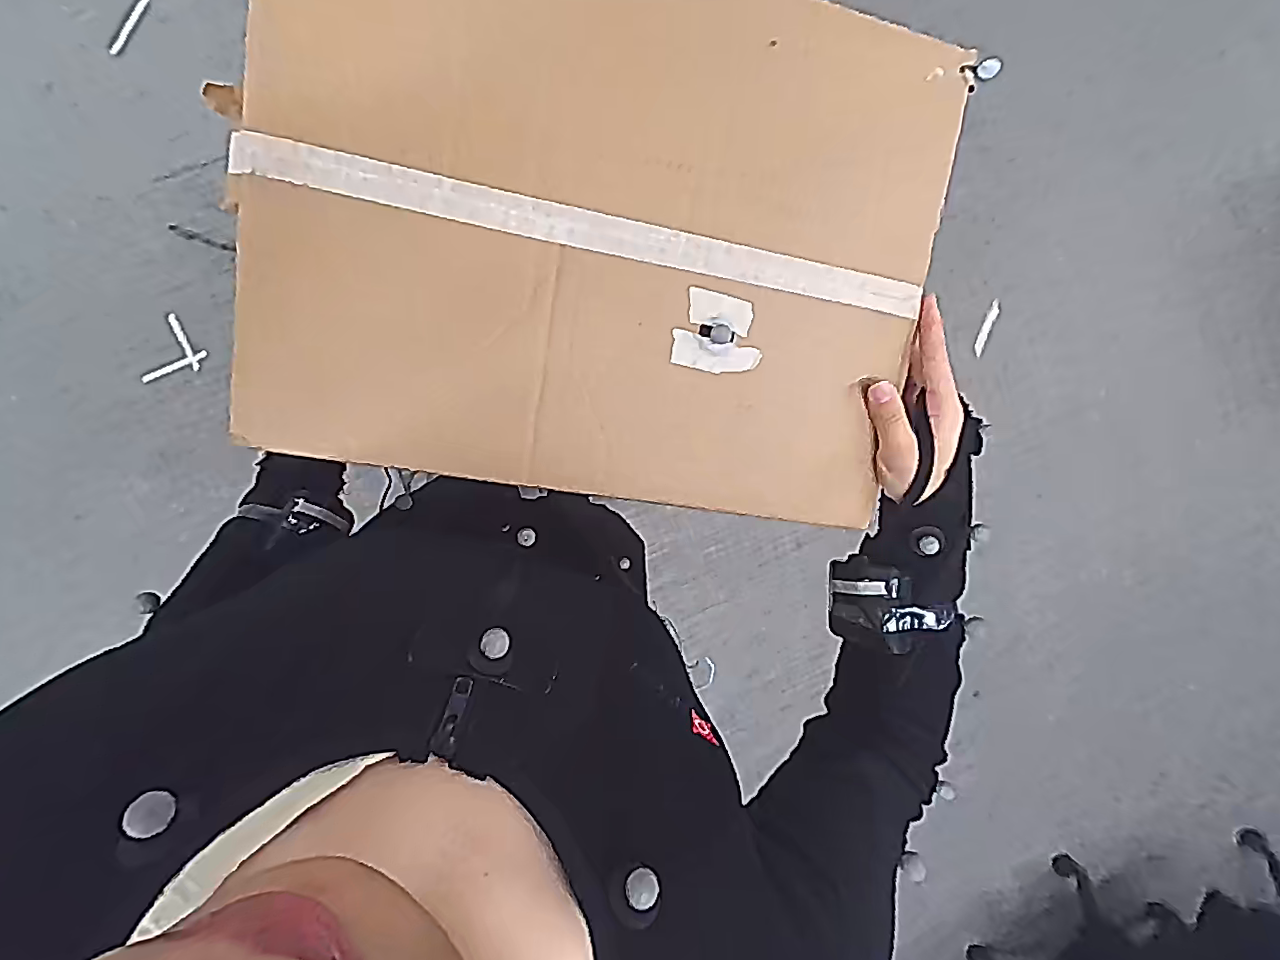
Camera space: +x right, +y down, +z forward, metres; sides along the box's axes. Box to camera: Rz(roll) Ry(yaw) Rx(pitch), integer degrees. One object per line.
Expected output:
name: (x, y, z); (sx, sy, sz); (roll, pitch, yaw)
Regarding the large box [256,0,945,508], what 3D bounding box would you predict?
large box: (-0.041, -0.172, 0.477); (0.408, 0.320, 0.320); (7, 99, -12)
